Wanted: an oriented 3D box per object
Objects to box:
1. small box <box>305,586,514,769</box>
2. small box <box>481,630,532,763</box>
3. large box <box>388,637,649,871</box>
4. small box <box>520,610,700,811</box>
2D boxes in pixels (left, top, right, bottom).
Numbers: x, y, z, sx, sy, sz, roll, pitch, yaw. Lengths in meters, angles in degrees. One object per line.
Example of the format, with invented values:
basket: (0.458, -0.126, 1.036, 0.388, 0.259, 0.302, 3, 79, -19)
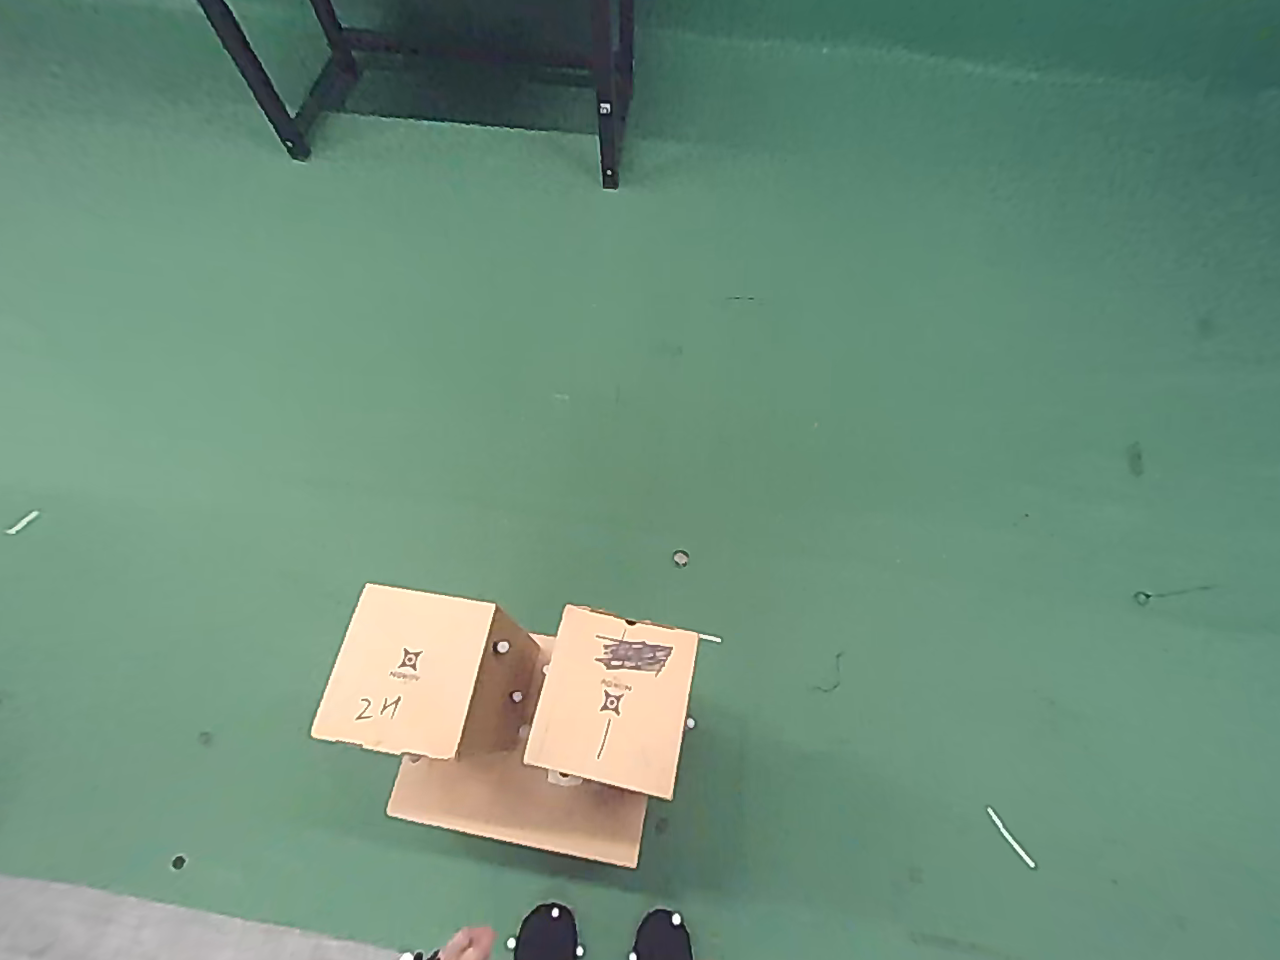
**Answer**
small box: (-0.268, 0.251, 0.682, 0.168, 0.176, 0.179, 8, 64, 4)
small box: (-0.272, 0.322, 0.830, 0.168, 0.176, 0.179, 10, 64, 4)
large box: (-0.176, 0.490, 1.018, 0.408, 0.320, 0.320, 9, 65, 4)
small box: (-0.029, 0.279, 0.665, 0.168, 0.176, 0.179, 11, 65, 7)
